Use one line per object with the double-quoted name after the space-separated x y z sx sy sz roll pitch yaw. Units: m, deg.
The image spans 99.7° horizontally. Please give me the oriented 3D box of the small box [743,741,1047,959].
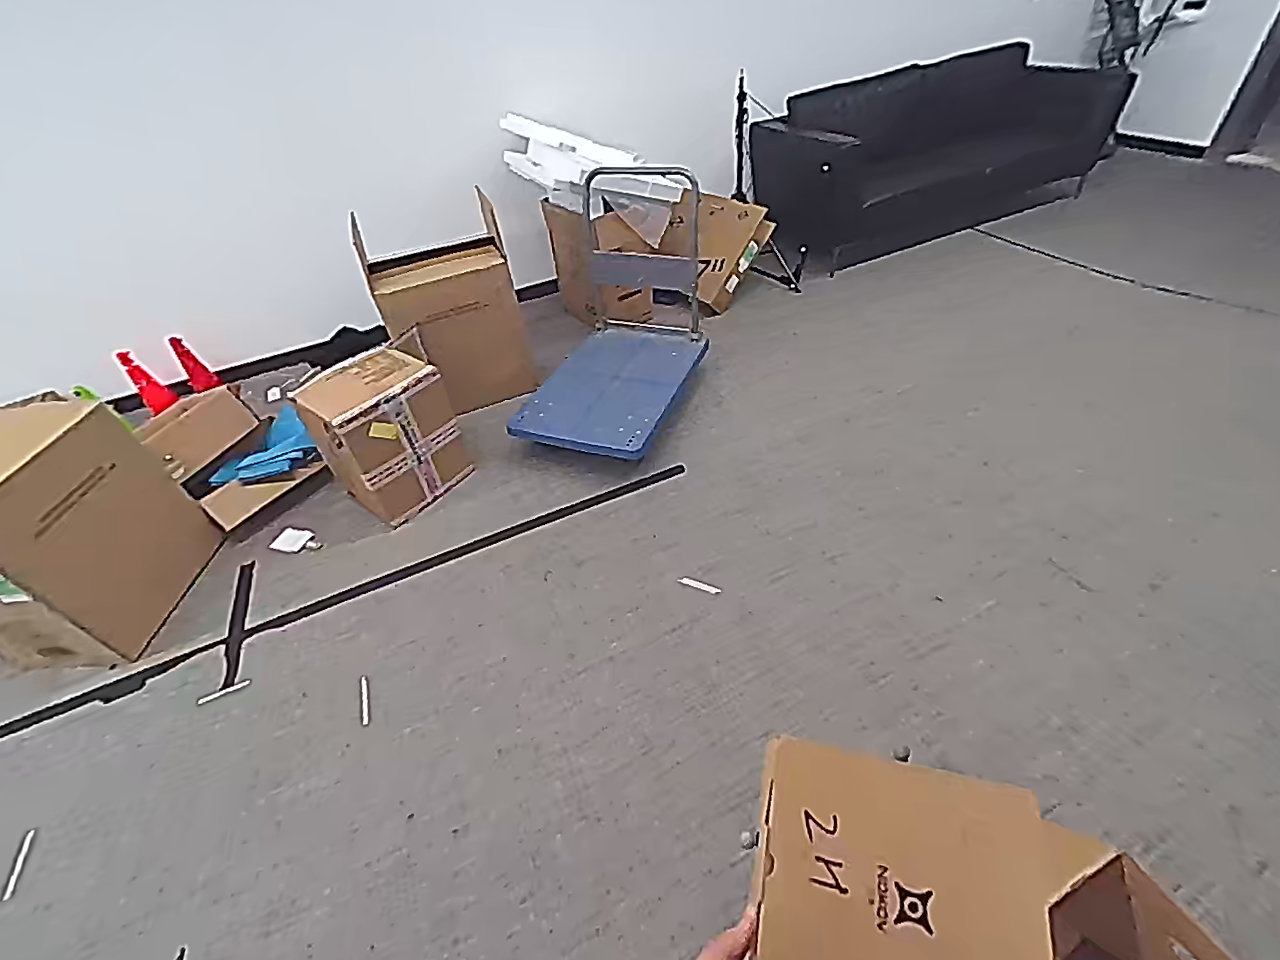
0.179 0.313 0.421 0.179 0.176 0.168 7 63 14 "small box"
